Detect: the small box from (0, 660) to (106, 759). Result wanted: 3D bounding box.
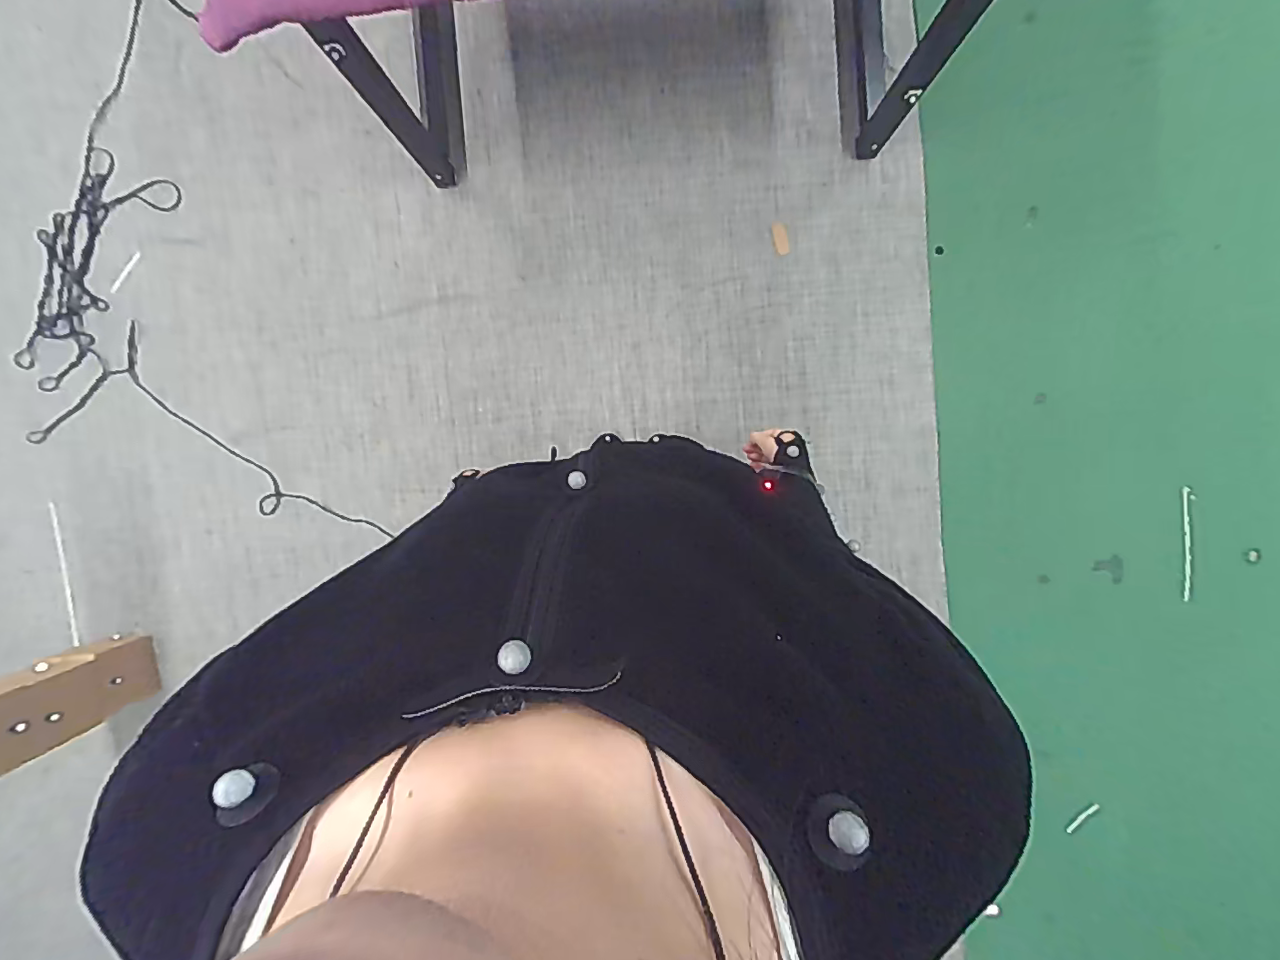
[{"bbox_3d":[-1.492,0.571,1.344,0.168,0.176,0.179,-6,93,1],"label":"small box"}]

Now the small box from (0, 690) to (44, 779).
[{"bbox_3d":[-1.481,0.576,1.181,0.168,0.176,0.179,-8,93,2],"label":"small box"}]

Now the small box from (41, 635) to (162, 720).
[{"bbox_3d":[-1.487,0.550,1.507,0.168,0.176,0.179,-6,93,2],"label":"small box"}]
